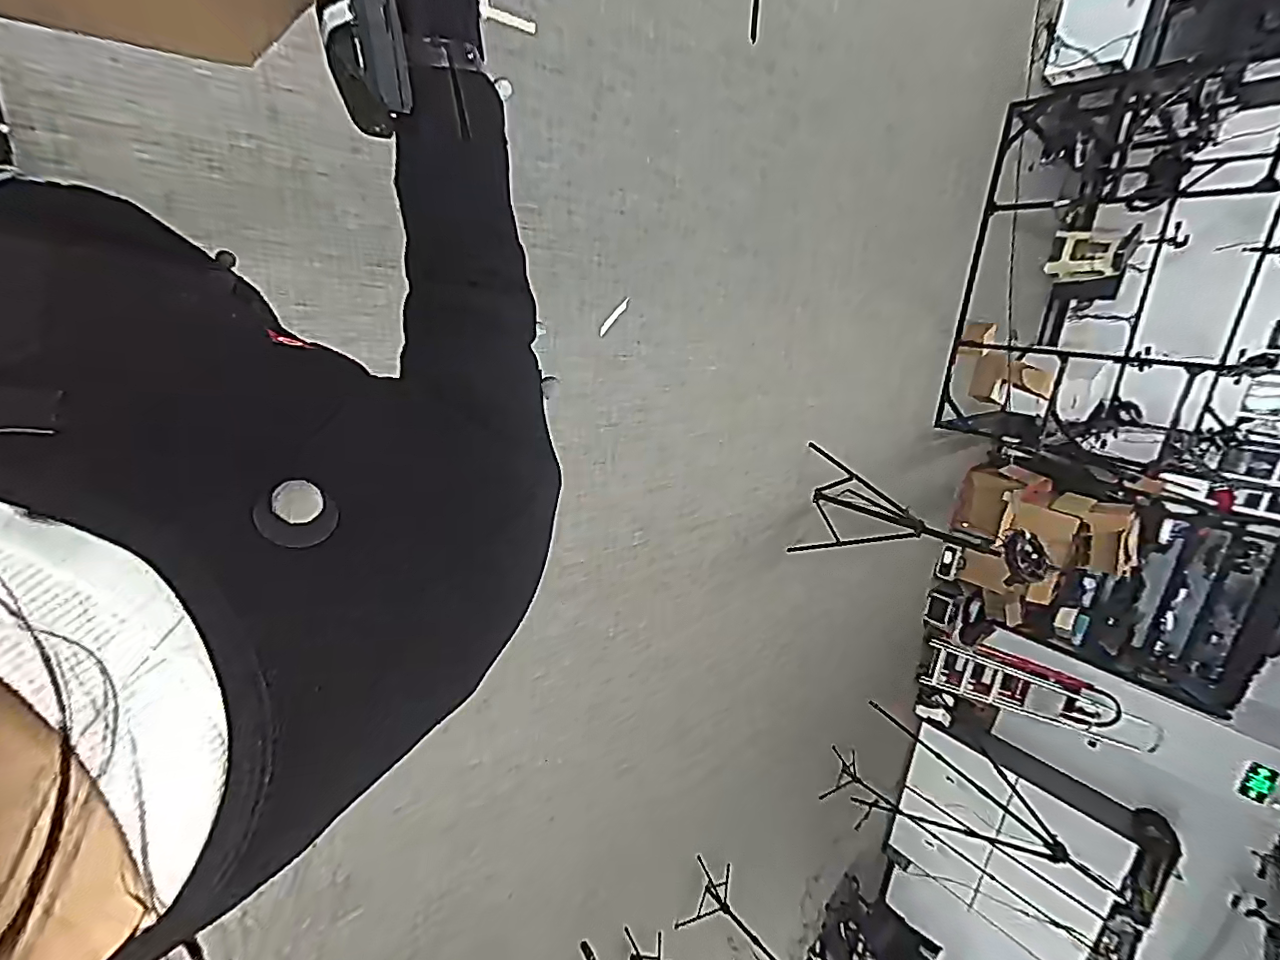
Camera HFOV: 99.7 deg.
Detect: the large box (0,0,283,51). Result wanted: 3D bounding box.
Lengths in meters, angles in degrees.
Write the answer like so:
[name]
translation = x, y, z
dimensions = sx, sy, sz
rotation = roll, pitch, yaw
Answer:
[large box]
translation = -0.407, -0.427, 0.212
dimensions = 0.408, 0.320, 0.320
rotation = -18, 123, -39
